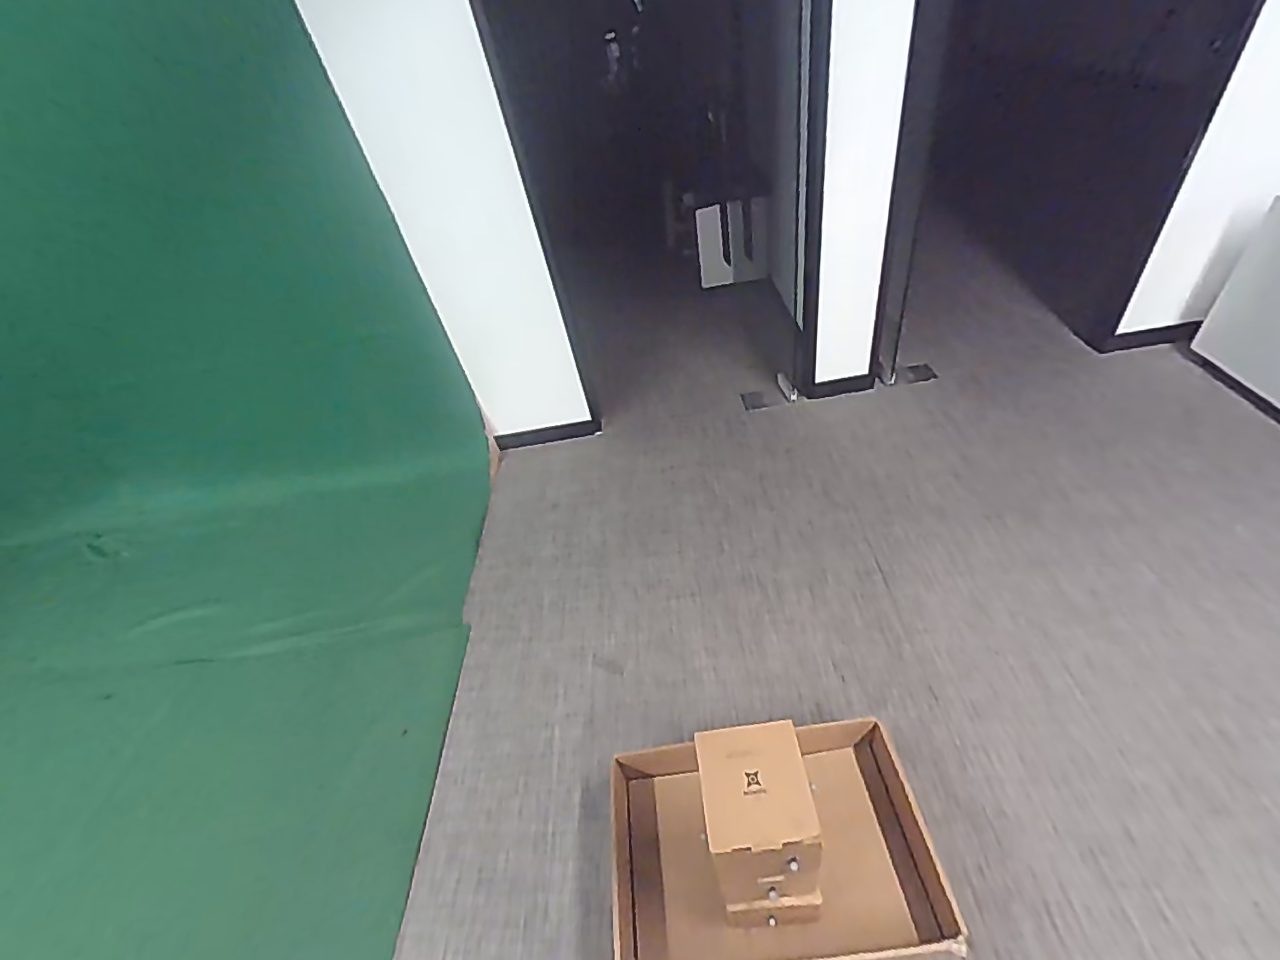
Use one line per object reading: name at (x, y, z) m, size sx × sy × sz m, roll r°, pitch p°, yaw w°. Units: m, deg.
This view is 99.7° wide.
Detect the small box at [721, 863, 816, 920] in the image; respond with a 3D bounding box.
small box at (0.252, 0.781, 1.109) m, size 0.179 × 0.176 × 0.168 m, roll -9°, pitch 40°, yaw 7°

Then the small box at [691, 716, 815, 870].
small box at (0.183, 0.522, 0.896) m, size 0.168 × 0.176 × 0.179 m, roll -9°, pitch 40°, yaw 4°

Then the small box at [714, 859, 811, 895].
small box at (0.216, 0.654, 1.016) m, size 0.168 × 0.176 × 0.179 m, roll -12°, pitch 41°, yaw 3°
